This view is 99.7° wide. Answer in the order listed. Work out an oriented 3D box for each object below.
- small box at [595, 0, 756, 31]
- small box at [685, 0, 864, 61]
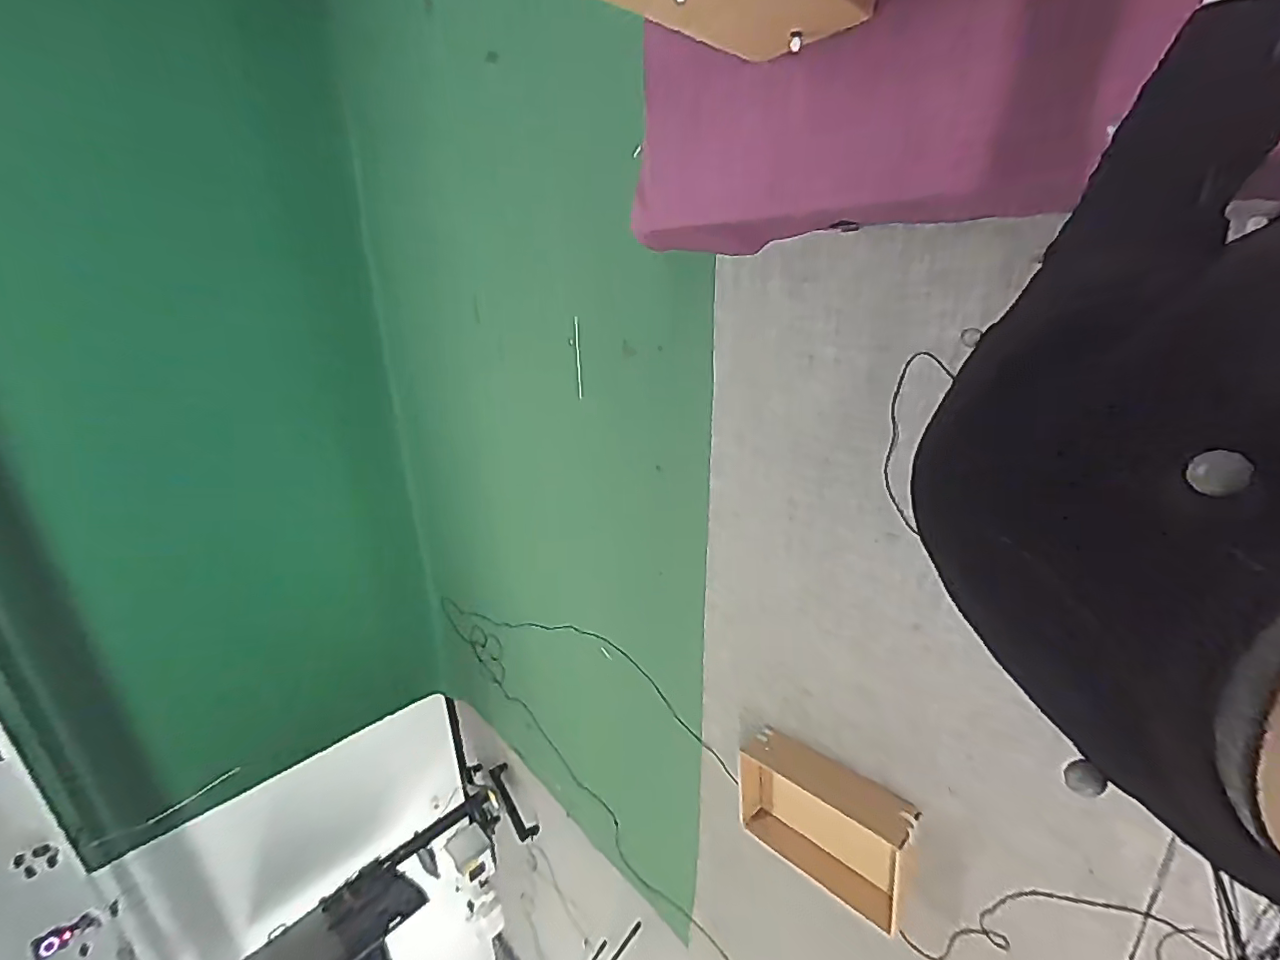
[{"bbox_3d":[0.055,-0.613,0.563,0.179,0.176,0.168,17,118,44],"label":"small box"},{"bbox_3d":[0.172,-0.657,0.669,0.179,0.176,0.168,16,117,44],"label":"small box"}]
